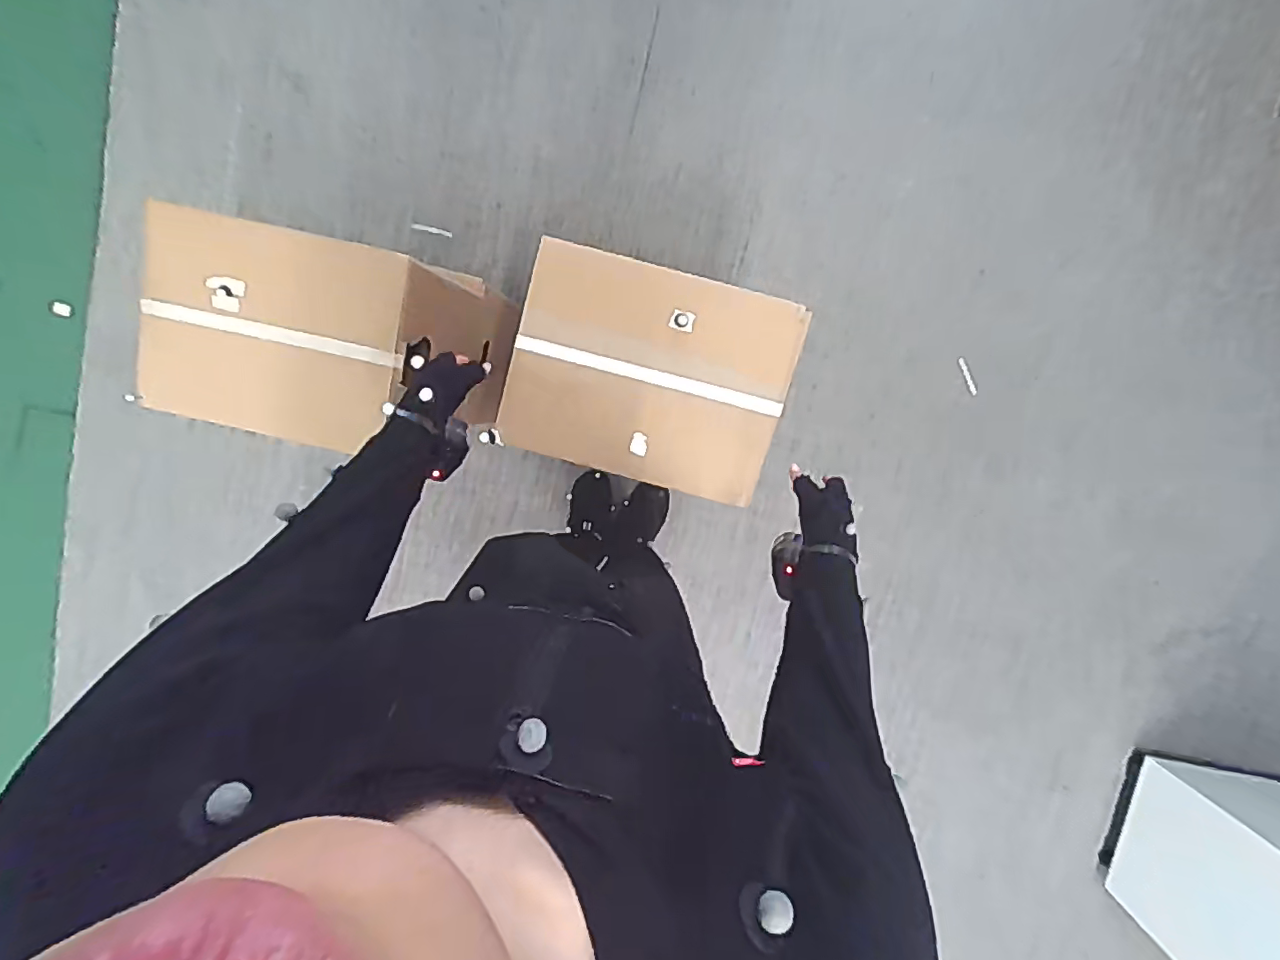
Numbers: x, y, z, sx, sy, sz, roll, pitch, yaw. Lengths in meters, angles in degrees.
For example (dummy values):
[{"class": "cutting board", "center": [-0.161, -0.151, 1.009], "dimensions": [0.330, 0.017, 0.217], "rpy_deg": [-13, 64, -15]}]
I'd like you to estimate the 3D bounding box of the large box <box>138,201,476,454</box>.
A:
[{"class": "large box", "center": [-0.553, -0.252, 0.963], "dimensions": [0.408, 0.320, 0.320], "rpy_deg": [13, 100, 2]}]
